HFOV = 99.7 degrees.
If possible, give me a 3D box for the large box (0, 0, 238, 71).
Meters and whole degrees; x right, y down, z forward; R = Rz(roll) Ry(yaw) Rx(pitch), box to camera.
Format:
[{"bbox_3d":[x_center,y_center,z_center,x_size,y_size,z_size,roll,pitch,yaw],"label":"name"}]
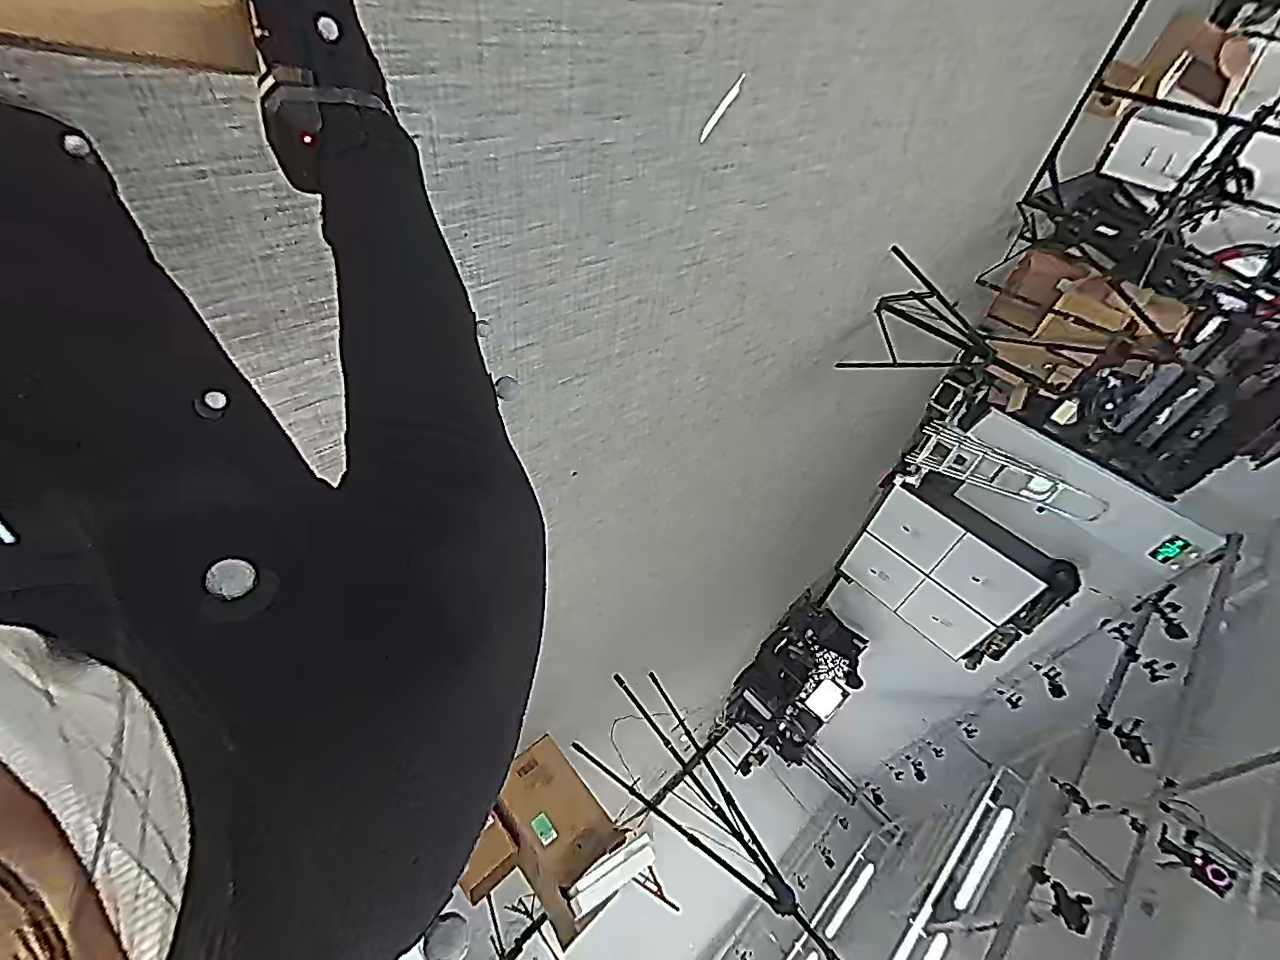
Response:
[{"bbox_3d":[-0.539,-0.455,0.303,0.408,0.320,0.320,-22,131,-40],"label":"large box"}]
